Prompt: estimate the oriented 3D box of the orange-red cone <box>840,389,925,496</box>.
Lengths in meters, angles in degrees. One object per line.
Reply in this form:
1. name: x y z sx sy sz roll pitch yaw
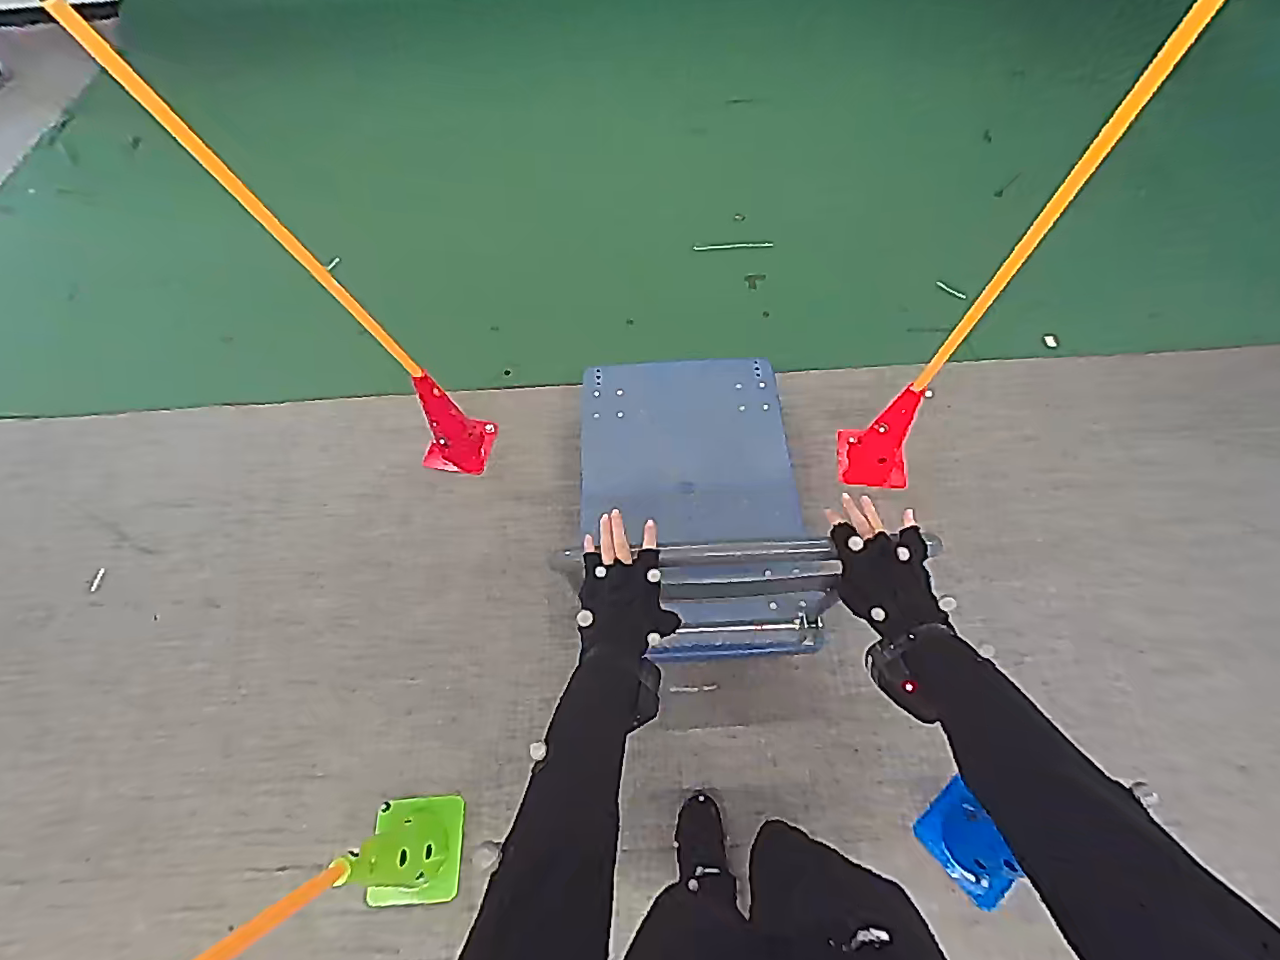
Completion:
1. orange-red cone: 0.710 -0.127 1.516 0.198 0.360 0.199 6 62 7
